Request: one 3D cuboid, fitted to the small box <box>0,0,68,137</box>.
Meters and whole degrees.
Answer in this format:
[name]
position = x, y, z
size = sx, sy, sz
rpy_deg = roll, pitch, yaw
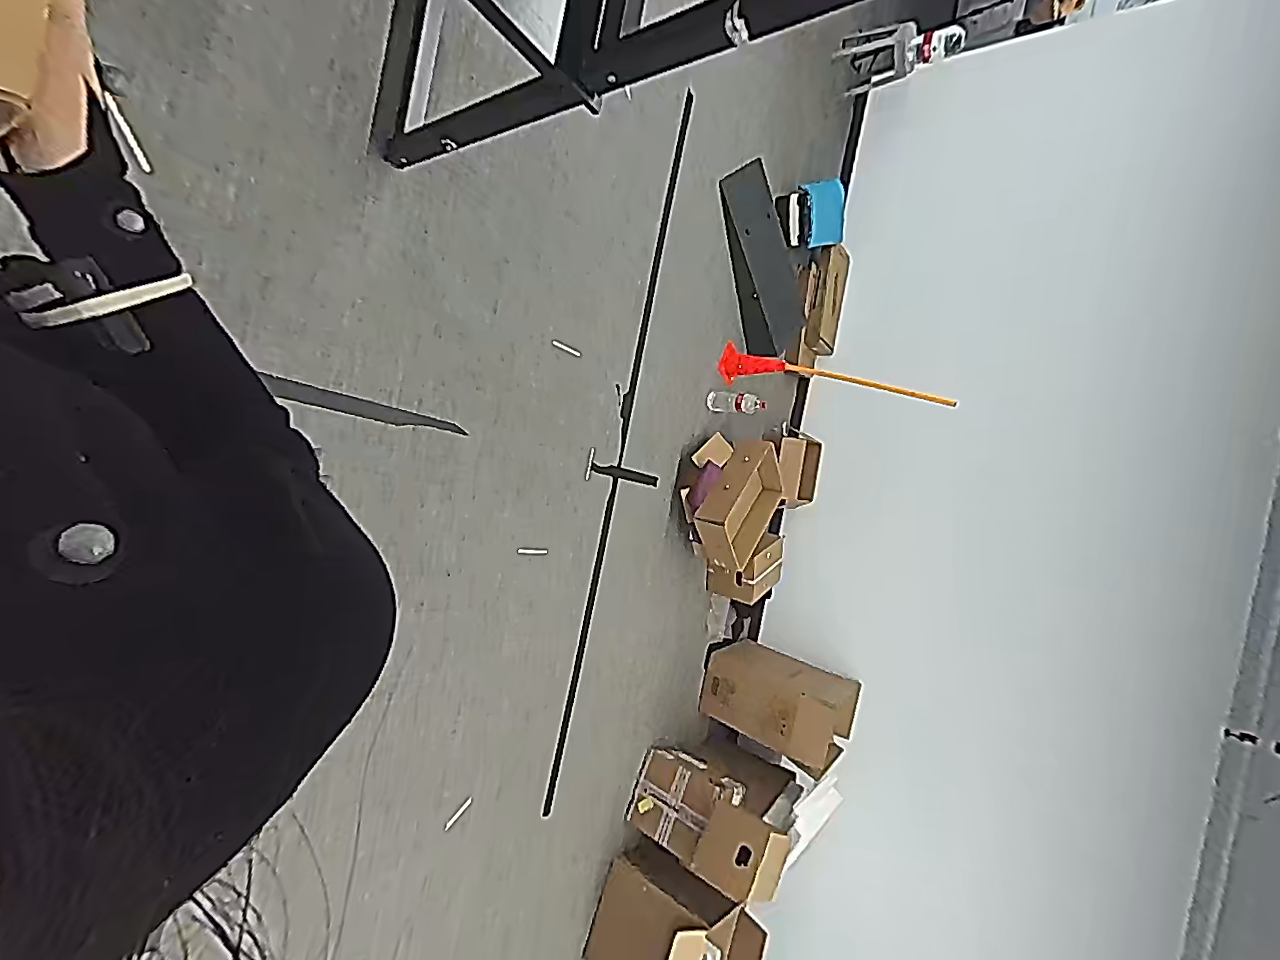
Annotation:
[small box]
position = -0.322, -0.250, 0.186
size = 0.168, 0.176, 0.179
rpy_deg = 7, 98, -56
